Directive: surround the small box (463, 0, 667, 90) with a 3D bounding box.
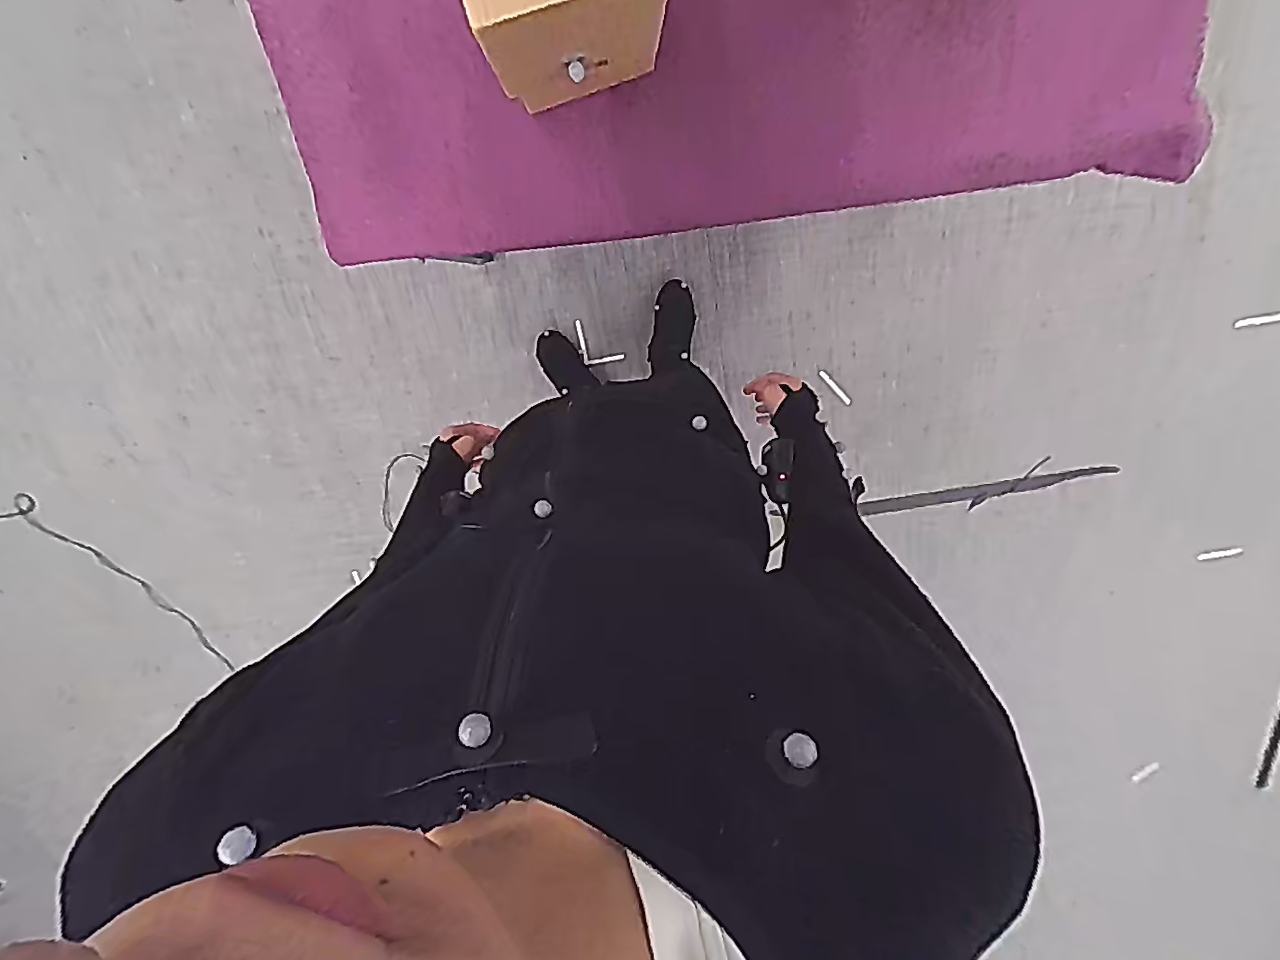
[{"bbox_3d":[-0.077,-0.473,0.455,0.168,0.176,0.179,-15,111,3],"label":"small box"}]

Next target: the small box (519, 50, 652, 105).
[{"bbox_3d":[-0.084,-0.553,0.601,0.179,0.176,0.168,-17,110,3],"label":"small box"}]
